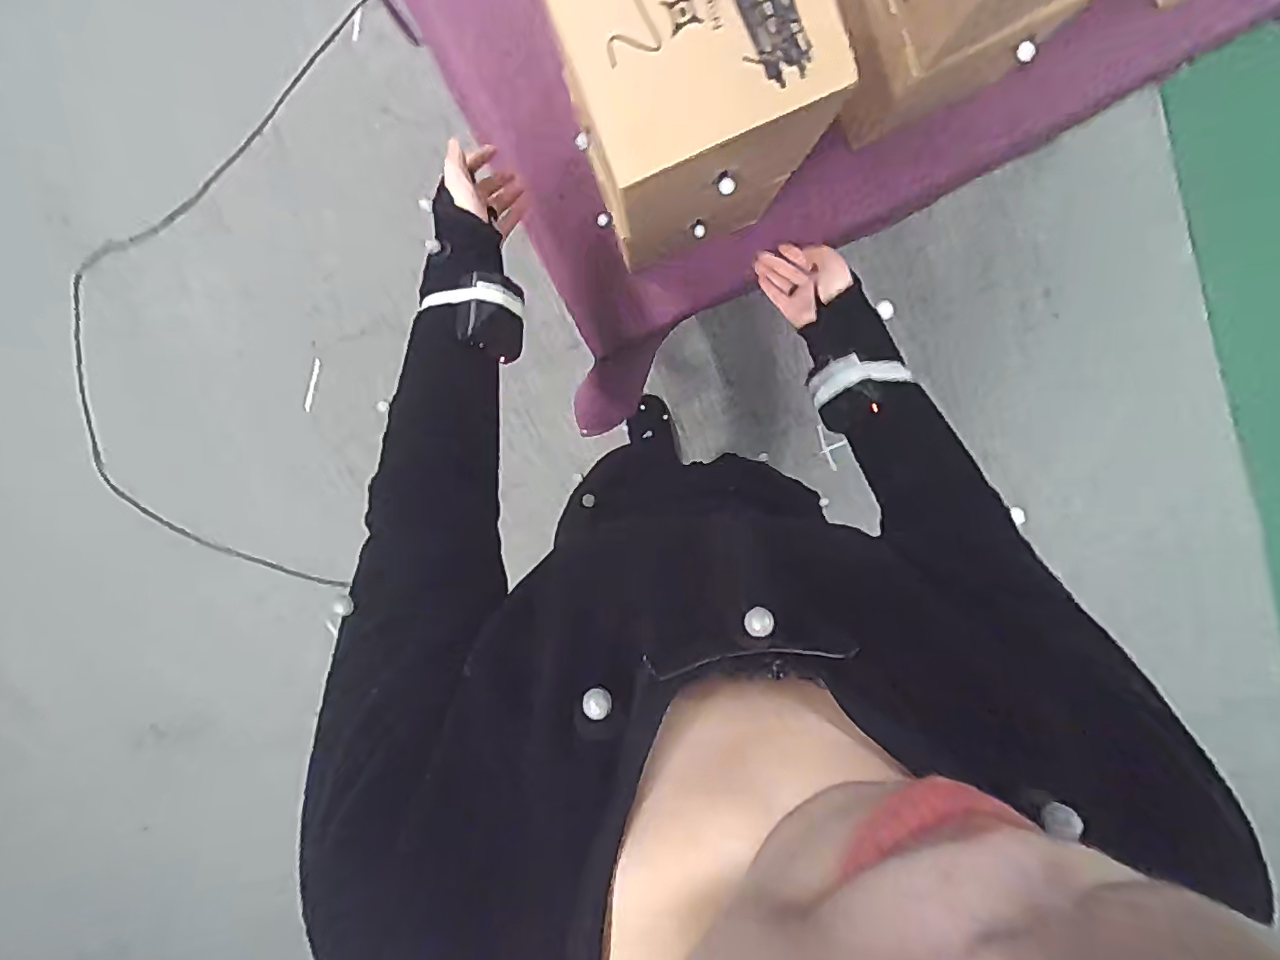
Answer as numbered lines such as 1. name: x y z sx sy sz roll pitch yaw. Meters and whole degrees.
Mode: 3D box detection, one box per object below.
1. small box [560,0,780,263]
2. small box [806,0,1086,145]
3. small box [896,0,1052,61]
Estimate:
1. small box: 0.032 -0.357 0.594 0.179 0.176 0.168 -19 101 5
2. small box: 0.298 -0.492 0.558 0.179 0.176 0.168 -22 99 6
3. small box: 0.291 -0.466 0.396 0.179 0.176 0.168 -26 100 5
